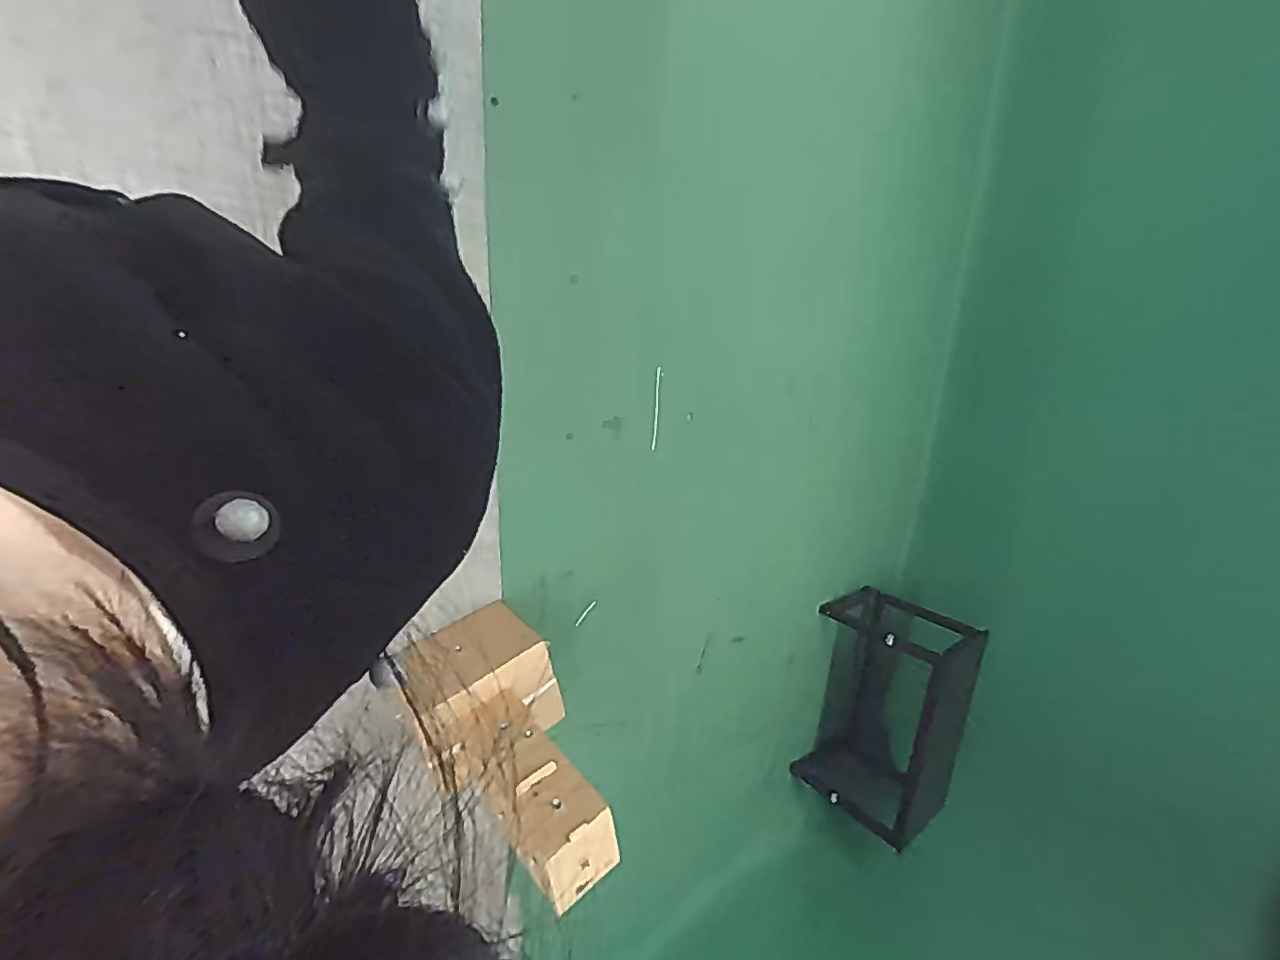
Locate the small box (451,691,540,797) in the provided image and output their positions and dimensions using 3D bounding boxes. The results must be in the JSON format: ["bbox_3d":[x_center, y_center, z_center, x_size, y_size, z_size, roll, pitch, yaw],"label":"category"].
[{"bbox_3d":[-0.378,0.702,1.443,0.179,0.176,0.168,-22,116,-34],"label":"small box"}]

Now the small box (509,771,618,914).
[{"bbox_3d":[-0.173,0.786,1.201,0.168,0.176,0.179,-22,115,-34],"label":"small box"}]

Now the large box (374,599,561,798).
[{"bbox_3d":[-0.513,0.633,1.637,0.408,0.320,0.320,-27,121,-34],"label":"large box"}]

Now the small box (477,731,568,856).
[{"bbox_3d":[-0.281,0.747,1.319,0.168,0.176,0.179,-20,115,-35],"label":"small box"}]
